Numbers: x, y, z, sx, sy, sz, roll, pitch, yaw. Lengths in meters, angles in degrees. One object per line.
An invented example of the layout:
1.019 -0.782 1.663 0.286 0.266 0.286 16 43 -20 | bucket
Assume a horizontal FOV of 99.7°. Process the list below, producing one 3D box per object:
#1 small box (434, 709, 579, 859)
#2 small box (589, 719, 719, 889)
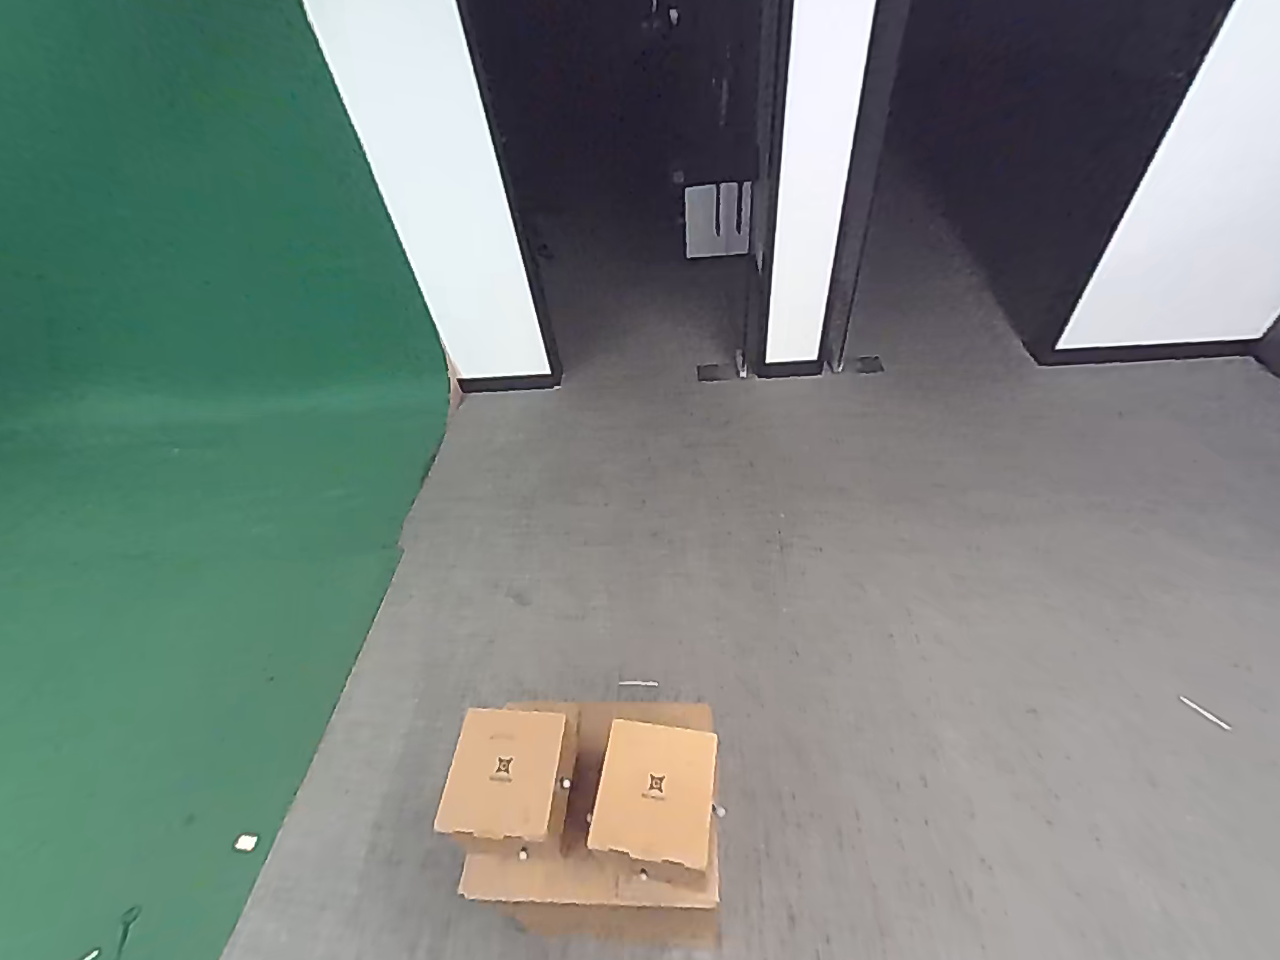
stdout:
-0.199 0.491 0.870 0.168 0.176 0.179 1 47 6 | small box
0.032 0.497 0.832 0.168 0.176 0.179 3 47 12 | small box
